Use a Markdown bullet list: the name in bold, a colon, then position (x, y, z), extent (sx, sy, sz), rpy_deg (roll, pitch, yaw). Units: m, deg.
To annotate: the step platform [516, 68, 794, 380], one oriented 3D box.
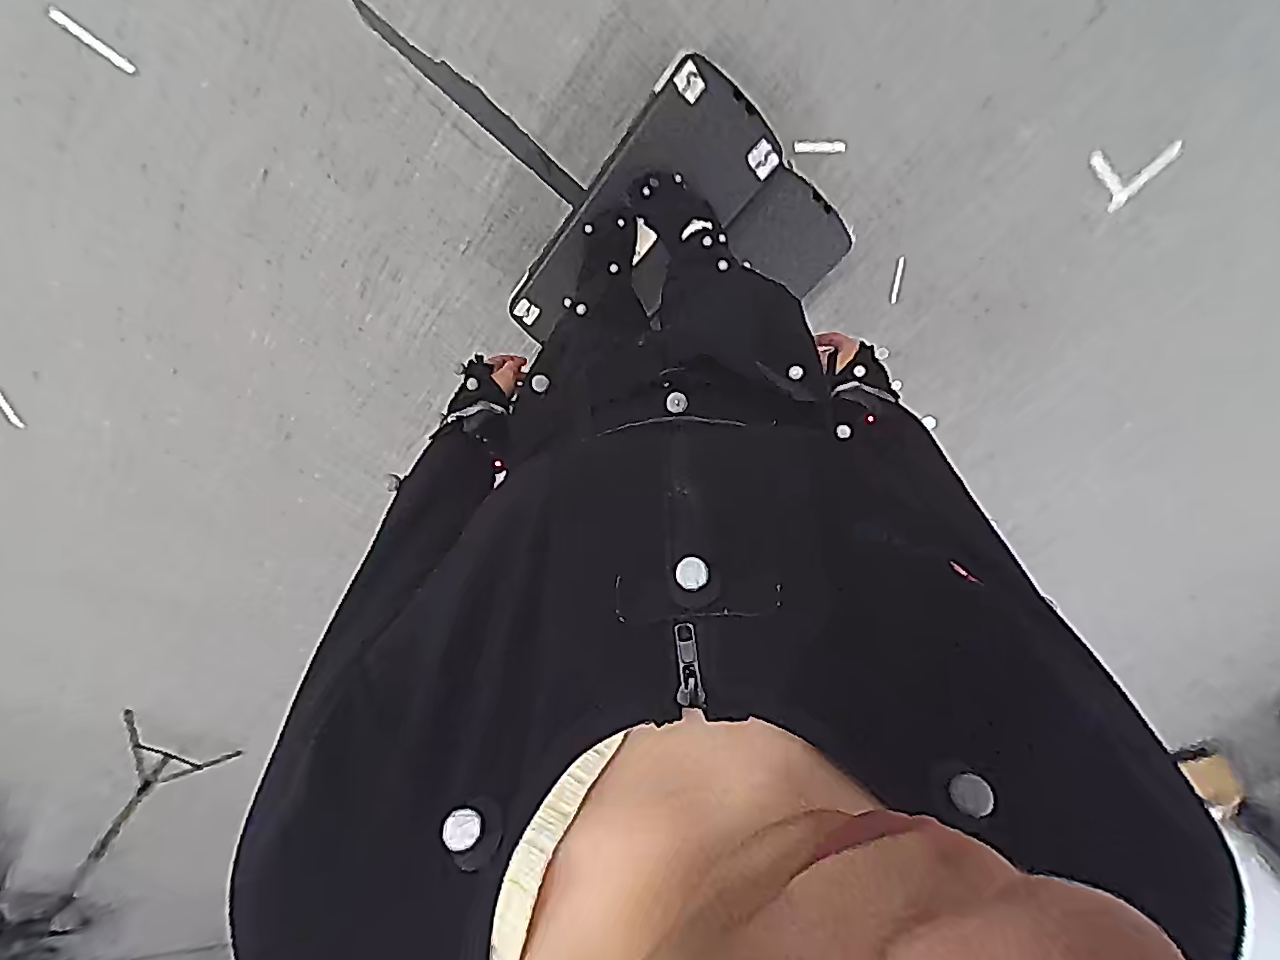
- **step platform**: position (0.014, -0.559, 1.258), extent (0.286, 0.204, 0.684), rpy_deg (38, 113, -23)
